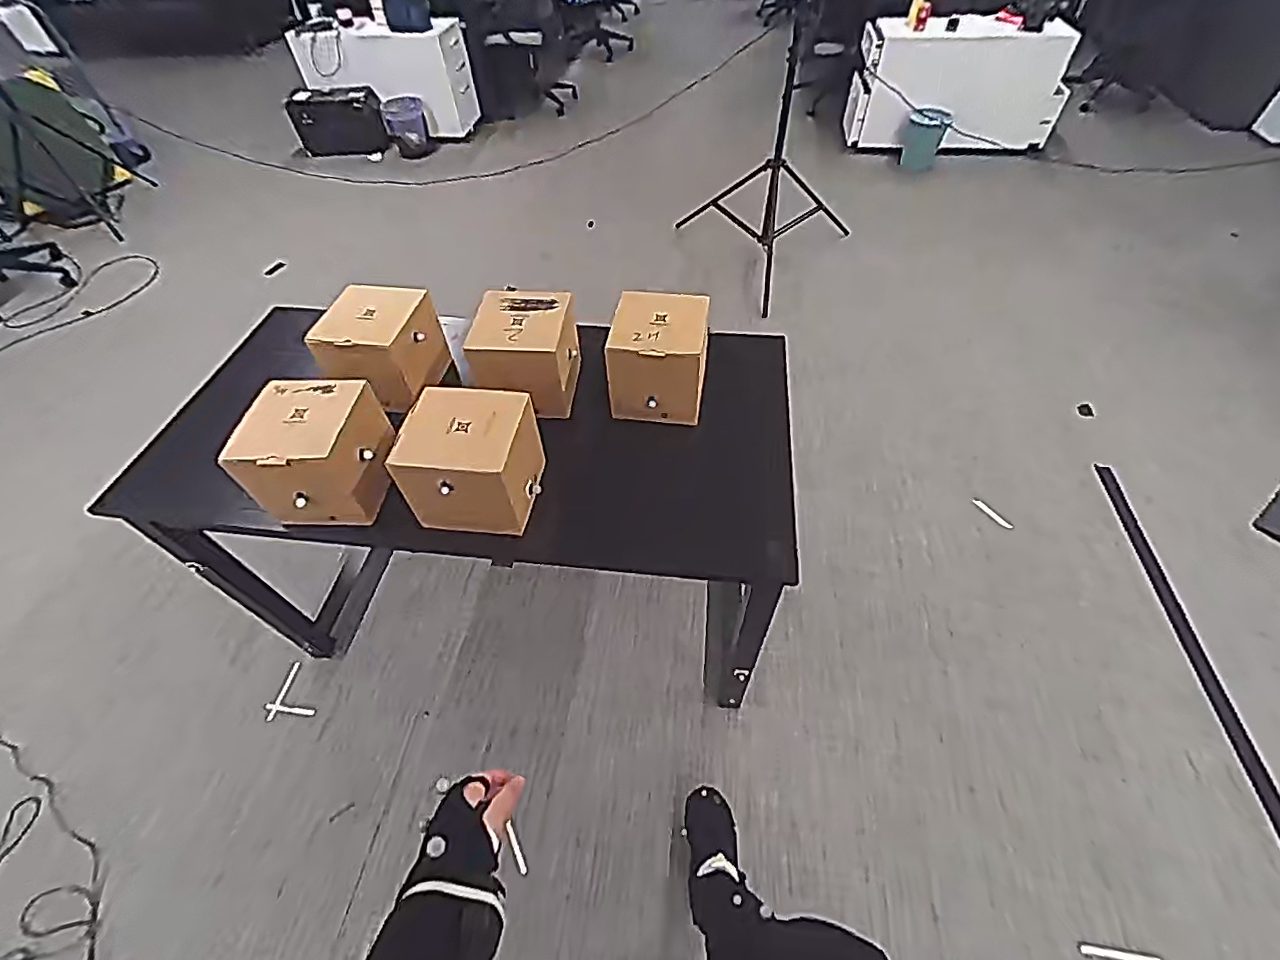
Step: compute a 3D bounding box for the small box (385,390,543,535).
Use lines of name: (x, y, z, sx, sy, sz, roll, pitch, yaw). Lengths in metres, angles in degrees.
small box: (-0.270, -0.025, 0.877, 0.179, 0.176, 0.168, 4, 52, 5)

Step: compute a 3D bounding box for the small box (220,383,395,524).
small box: (-0.527, -0.039, 0.897, 0.168, 0.176, 0.179, 0, 51, 3)

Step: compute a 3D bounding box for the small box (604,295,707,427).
small box: (0.033, -0.225, 1.023, 0.168, 0.176, 0.179, 6, 52, 8)

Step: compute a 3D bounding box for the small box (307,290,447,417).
small box: (-0.501, -0.249, 1.066, 0.168, 0.176, 0.179, 6, 52, 7)
